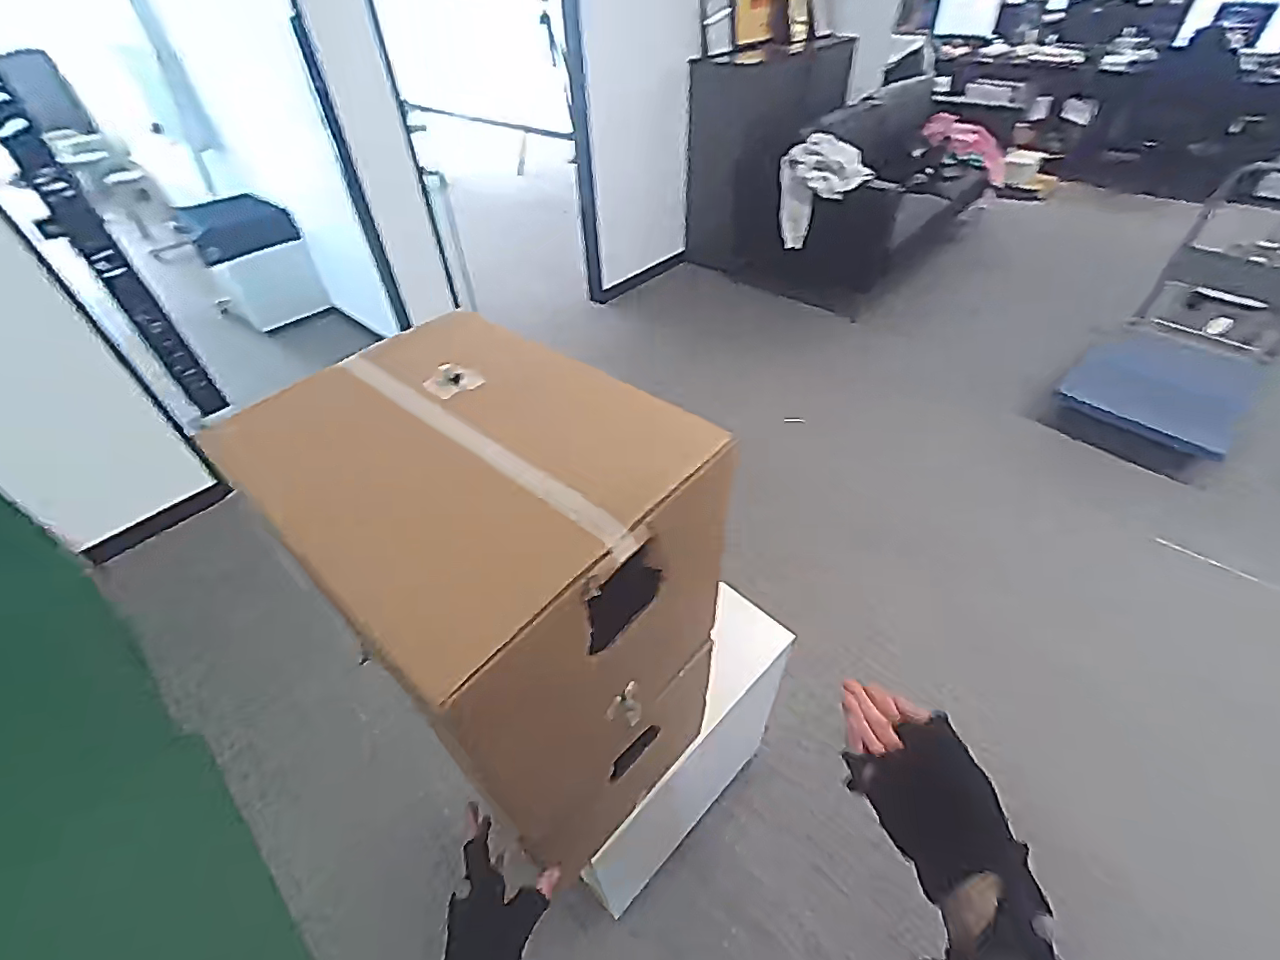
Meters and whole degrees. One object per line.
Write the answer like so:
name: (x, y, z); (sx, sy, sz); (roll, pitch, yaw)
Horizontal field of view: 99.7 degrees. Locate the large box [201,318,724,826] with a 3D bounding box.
large box: (-0.159, 0.073, 0.596); (0.408, 0.320, 0.320); (29, 53, 30)
